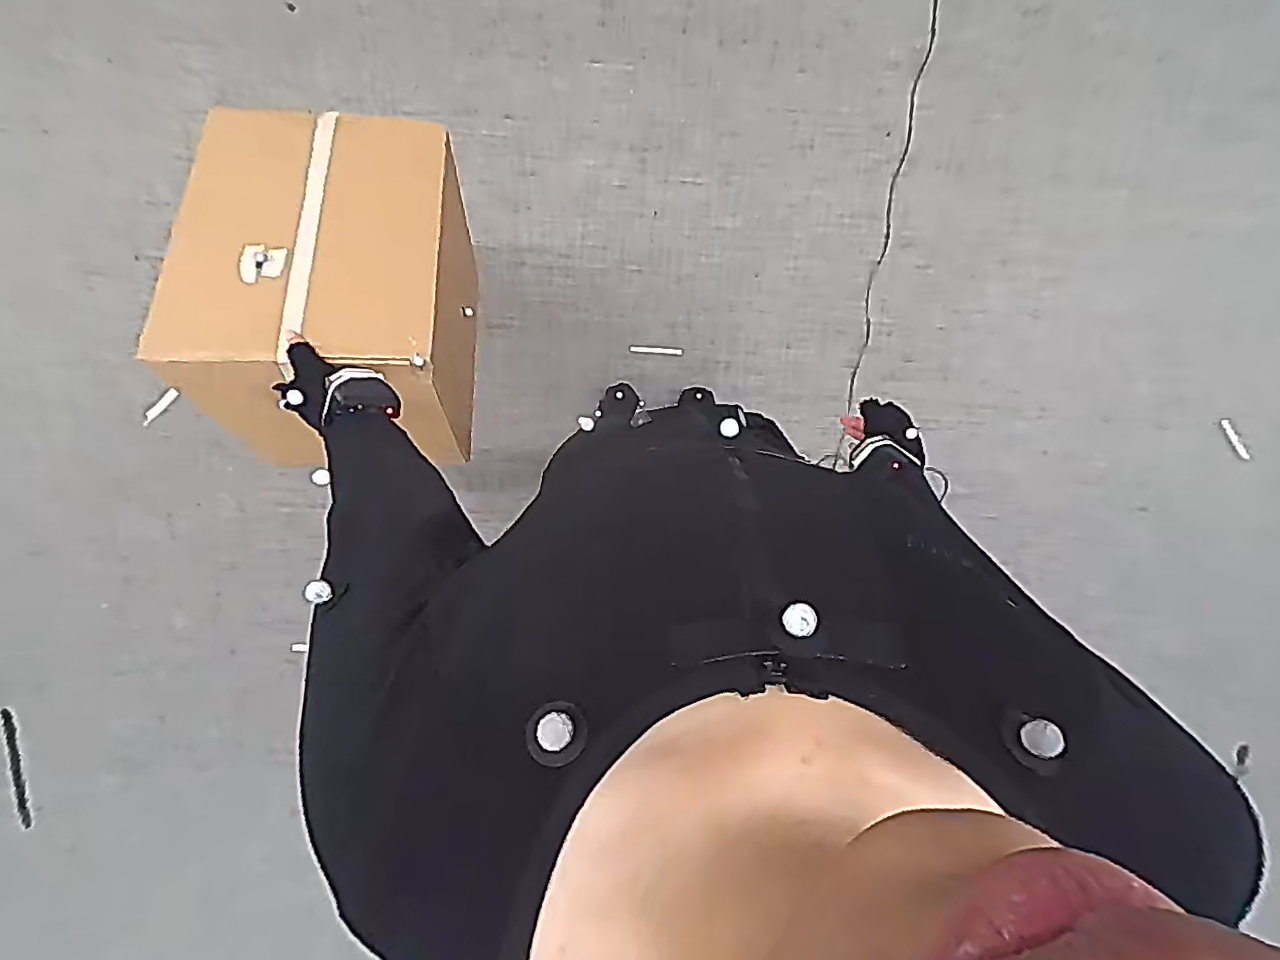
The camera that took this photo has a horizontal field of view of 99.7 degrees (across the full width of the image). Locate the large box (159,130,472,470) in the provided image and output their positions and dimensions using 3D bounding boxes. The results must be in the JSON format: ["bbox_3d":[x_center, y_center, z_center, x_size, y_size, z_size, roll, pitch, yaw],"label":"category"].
[{"bbox_3d":[-0.443,-0.259,0.849,0.320,0.320,0.408,-2,69,-8],"label":"large box"}]
